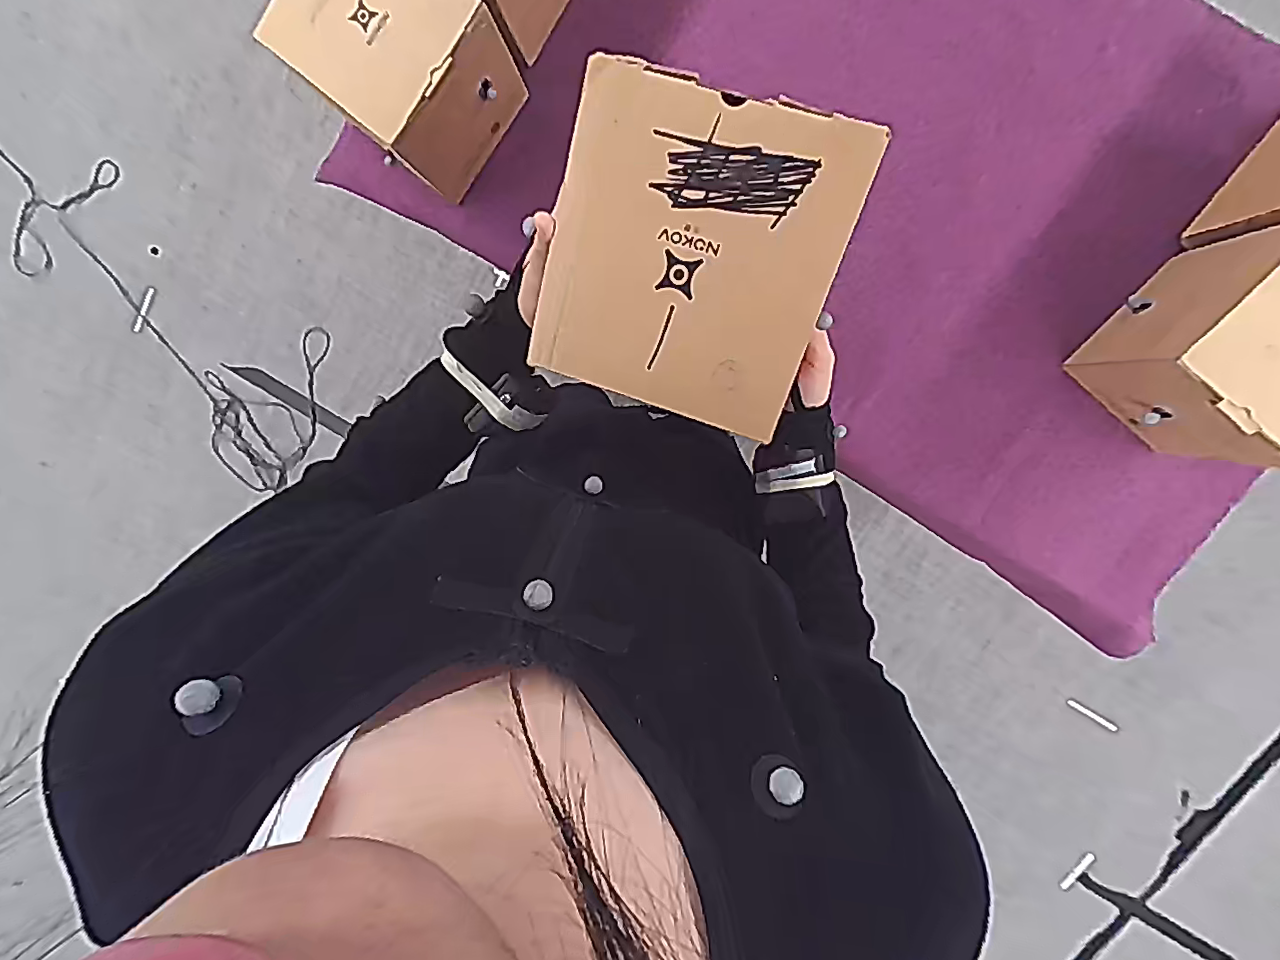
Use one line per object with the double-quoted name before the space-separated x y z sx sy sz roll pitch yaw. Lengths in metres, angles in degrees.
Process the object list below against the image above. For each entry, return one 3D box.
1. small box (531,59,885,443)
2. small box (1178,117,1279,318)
"small box" 0.045 -0.150 0.392 0.168 0.176 0.179 20 110 7
"small box" 0.734 -0.290 0.551 0.168 0.176 0.179 34 100 -2
